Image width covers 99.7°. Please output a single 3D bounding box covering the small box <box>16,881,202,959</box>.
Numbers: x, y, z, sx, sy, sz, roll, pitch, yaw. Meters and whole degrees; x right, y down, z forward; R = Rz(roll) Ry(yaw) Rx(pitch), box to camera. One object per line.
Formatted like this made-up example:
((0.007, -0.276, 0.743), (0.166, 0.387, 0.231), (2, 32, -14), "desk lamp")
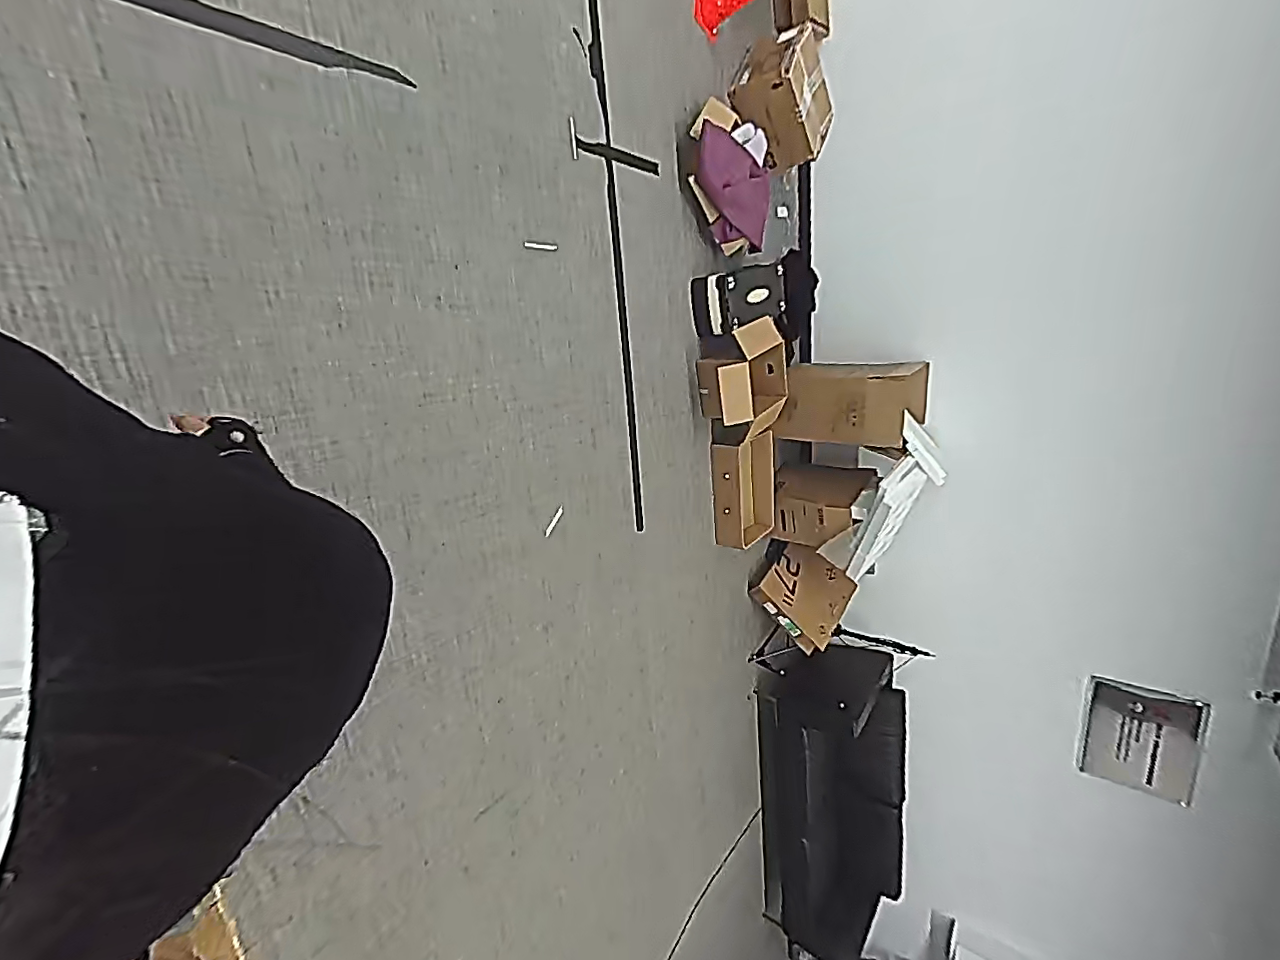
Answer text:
((-0.632, 0.646, 0.650), (0.168, 0.176, 0.179), (-22, 112, -48), "small box")
